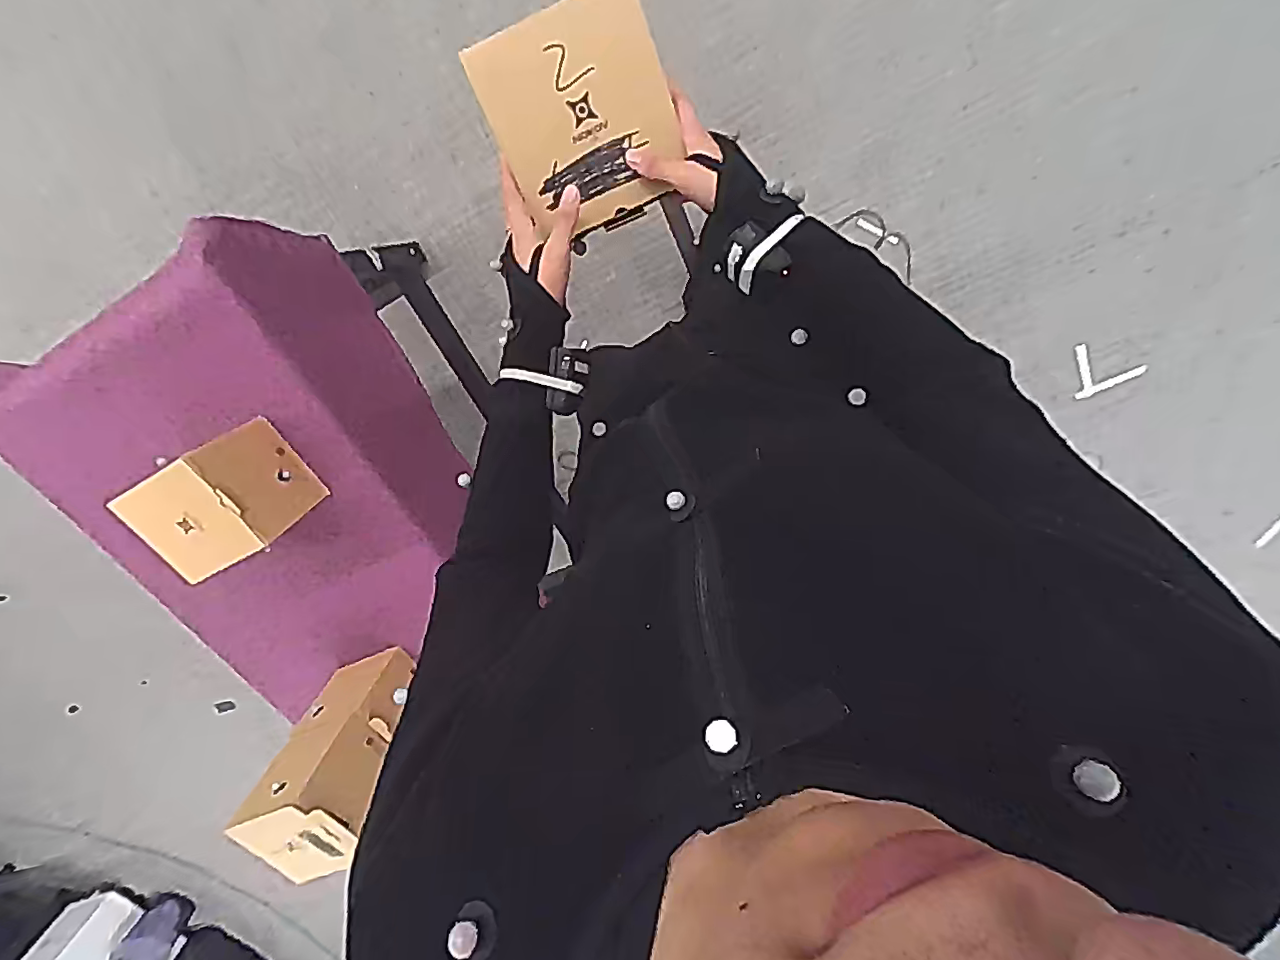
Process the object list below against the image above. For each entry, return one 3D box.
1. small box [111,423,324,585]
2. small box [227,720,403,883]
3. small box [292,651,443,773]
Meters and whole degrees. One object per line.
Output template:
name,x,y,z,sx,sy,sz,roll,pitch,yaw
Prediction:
small box,-0.664,0.033,0.874,0.179,0.176,0.168,-25,112,15
small box,-0.545,0.553,0.941,0.179,0.176,0.168,-27,111,17
small box,-0.535,0.477,1.087,0.179,0.176,0.168,-24,113,14
